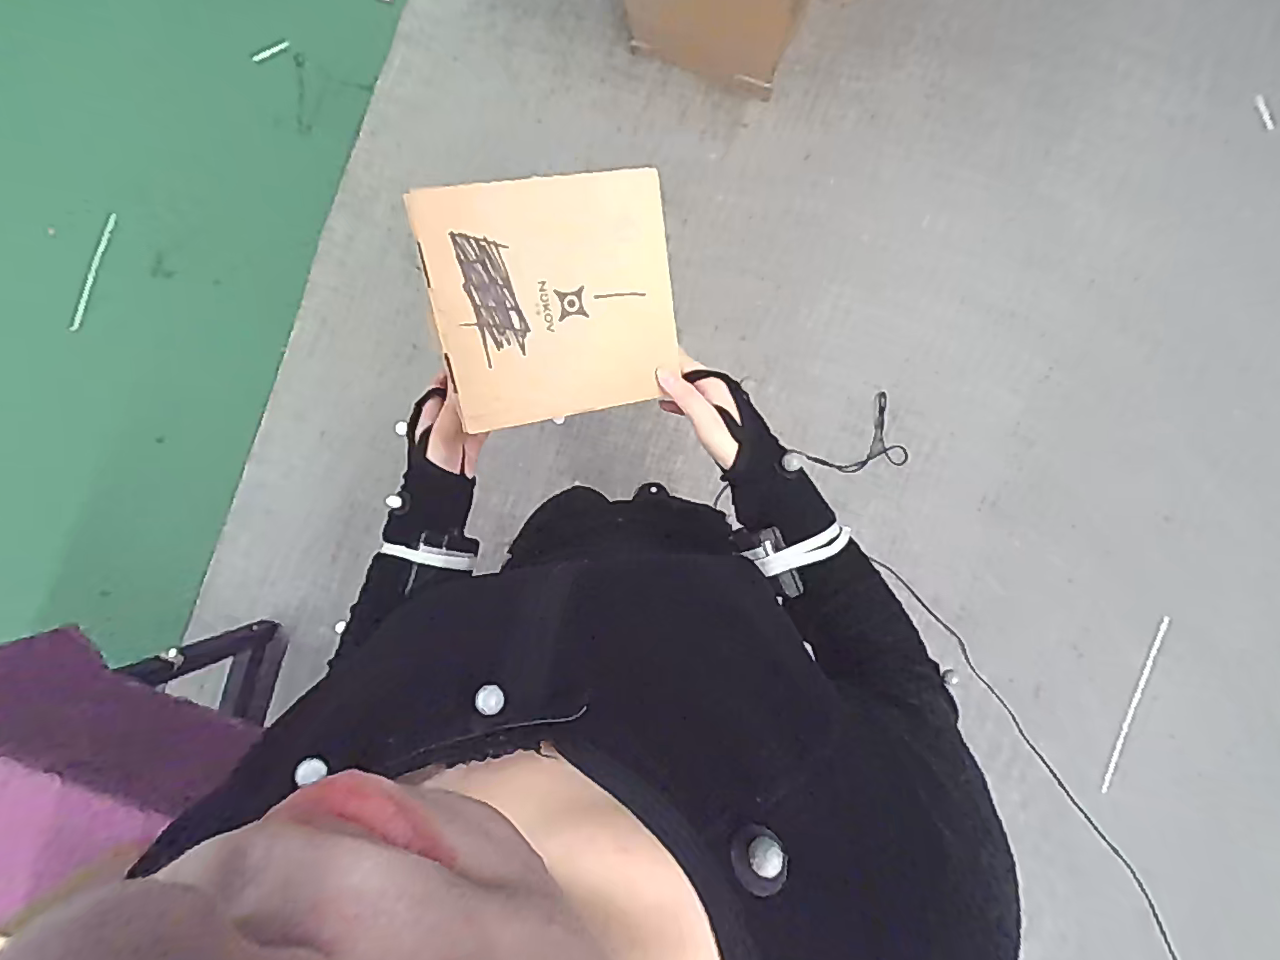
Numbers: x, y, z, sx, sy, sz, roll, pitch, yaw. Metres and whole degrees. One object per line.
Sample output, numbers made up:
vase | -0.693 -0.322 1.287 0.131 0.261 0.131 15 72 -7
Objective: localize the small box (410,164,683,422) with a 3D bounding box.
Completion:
small box | -0.078 -0.155 0.465 0.179 0.176 0.168 -12 110 -13
